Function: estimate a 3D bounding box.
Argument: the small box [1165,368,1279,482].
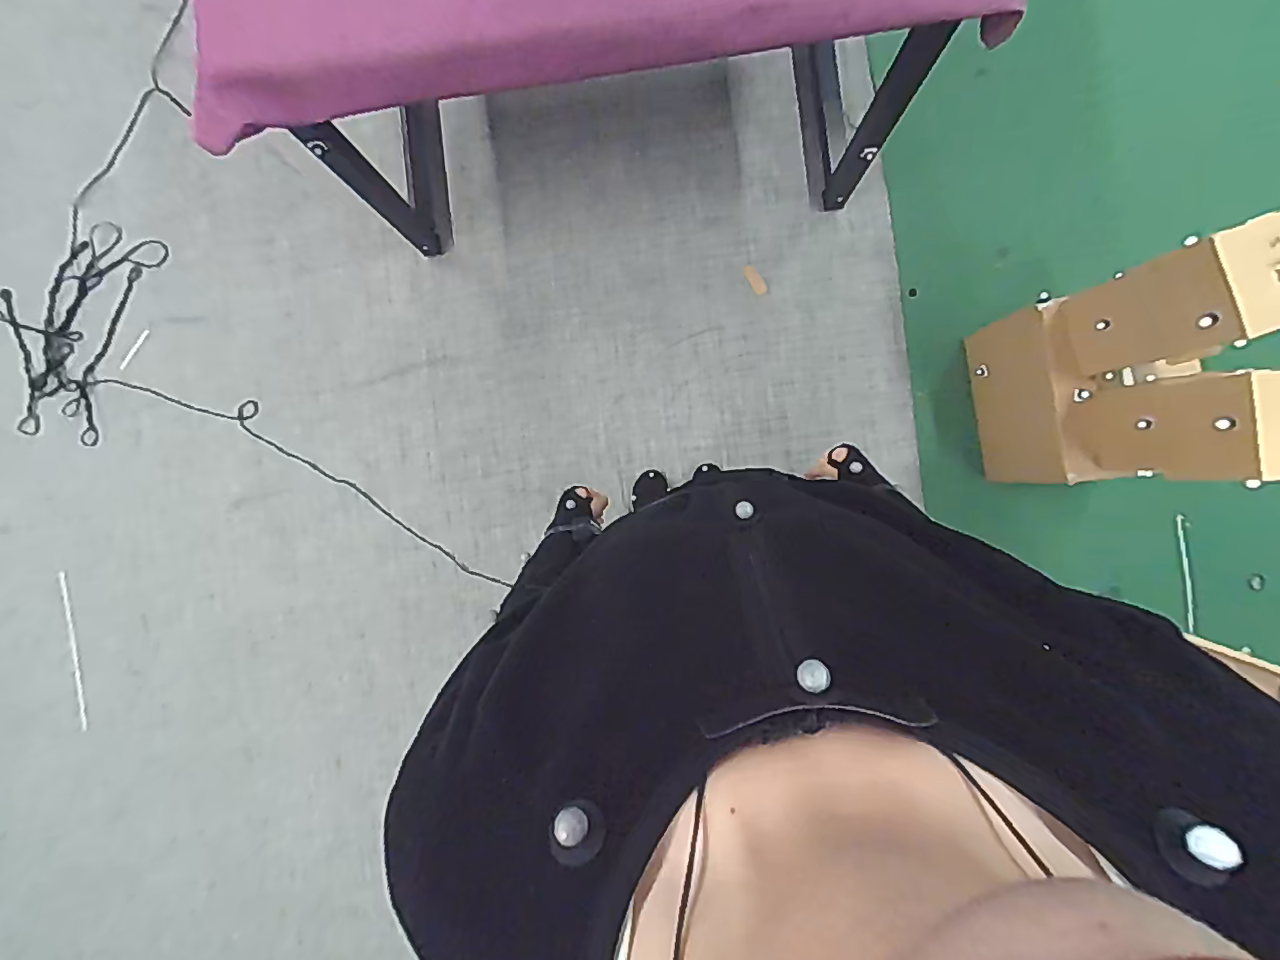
[{"bbox_3d":[1.041,-0.089,0.904,0.168,0.176,0.179,-5,88,4],"label":"small box"}]
